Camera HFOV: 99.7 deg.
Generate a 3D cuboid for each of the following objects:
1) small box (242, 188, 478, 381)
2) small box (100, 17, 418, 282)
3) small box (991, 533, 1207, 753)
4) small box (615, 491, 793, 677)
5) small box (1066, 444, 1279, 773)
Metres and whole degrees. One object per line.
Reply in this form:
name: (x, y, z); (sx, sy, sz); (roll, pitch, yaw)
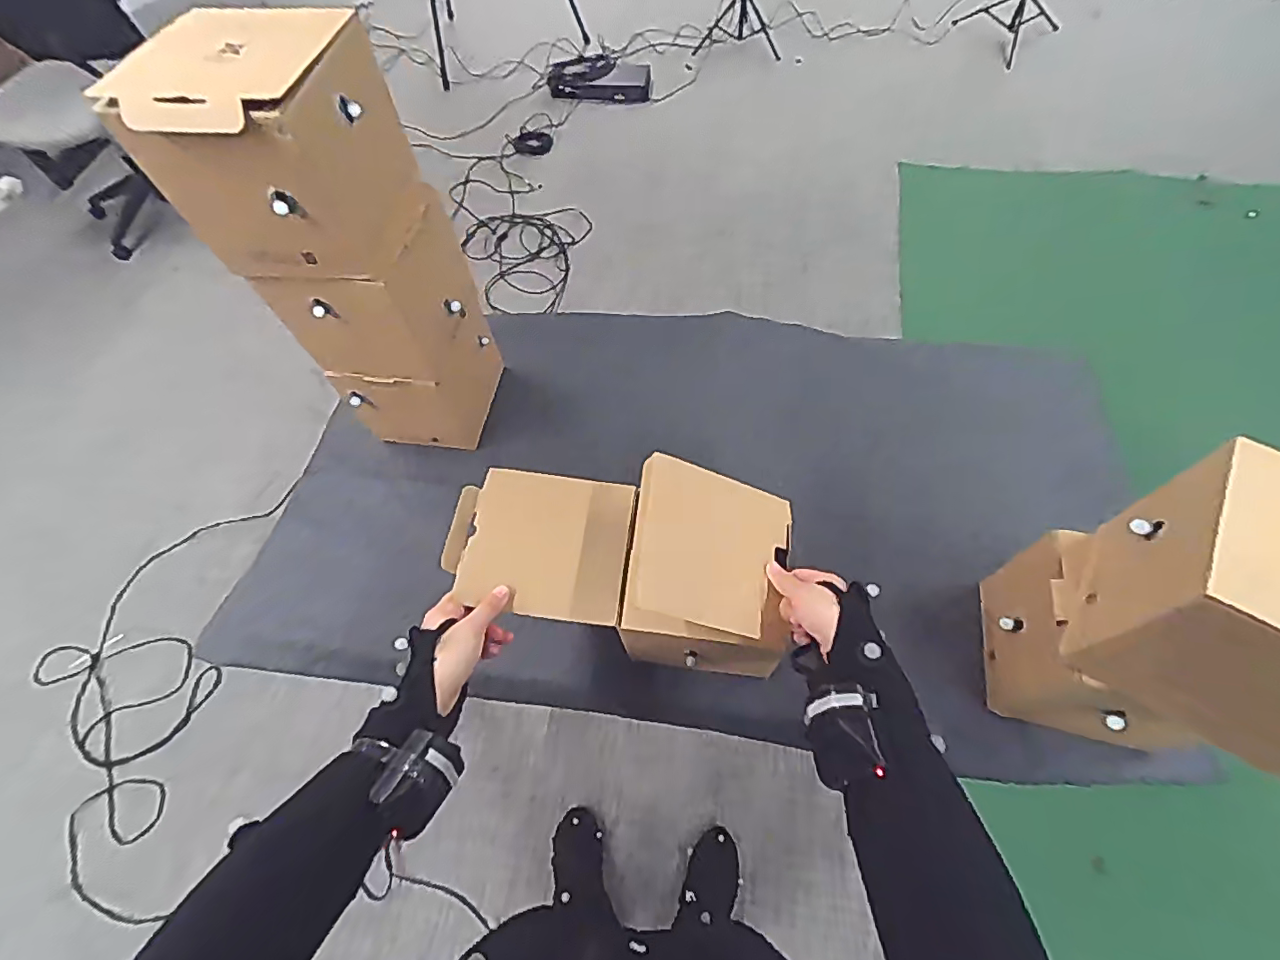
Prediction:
small box: (-0.332, -0.243, 0.682); (0.179, 0.176, 0.168); (7, 63, 7)
small box: (-0.347, -0.321, 0.540); (0.168, 0.176, 0.179); (4, 61, 4)
small box: (0.505, 0.181, 0.582); (0.179, 0.176, 0.168); (11, 59, 11)
small box: (0.078, 0.129, 0.641); (0.179, 0.176, 0.168); (4, 61, 9)
small box: (0.498, 0.109, 0.435); (0.179, 0.176, 0.168); (31, 64, 19)
